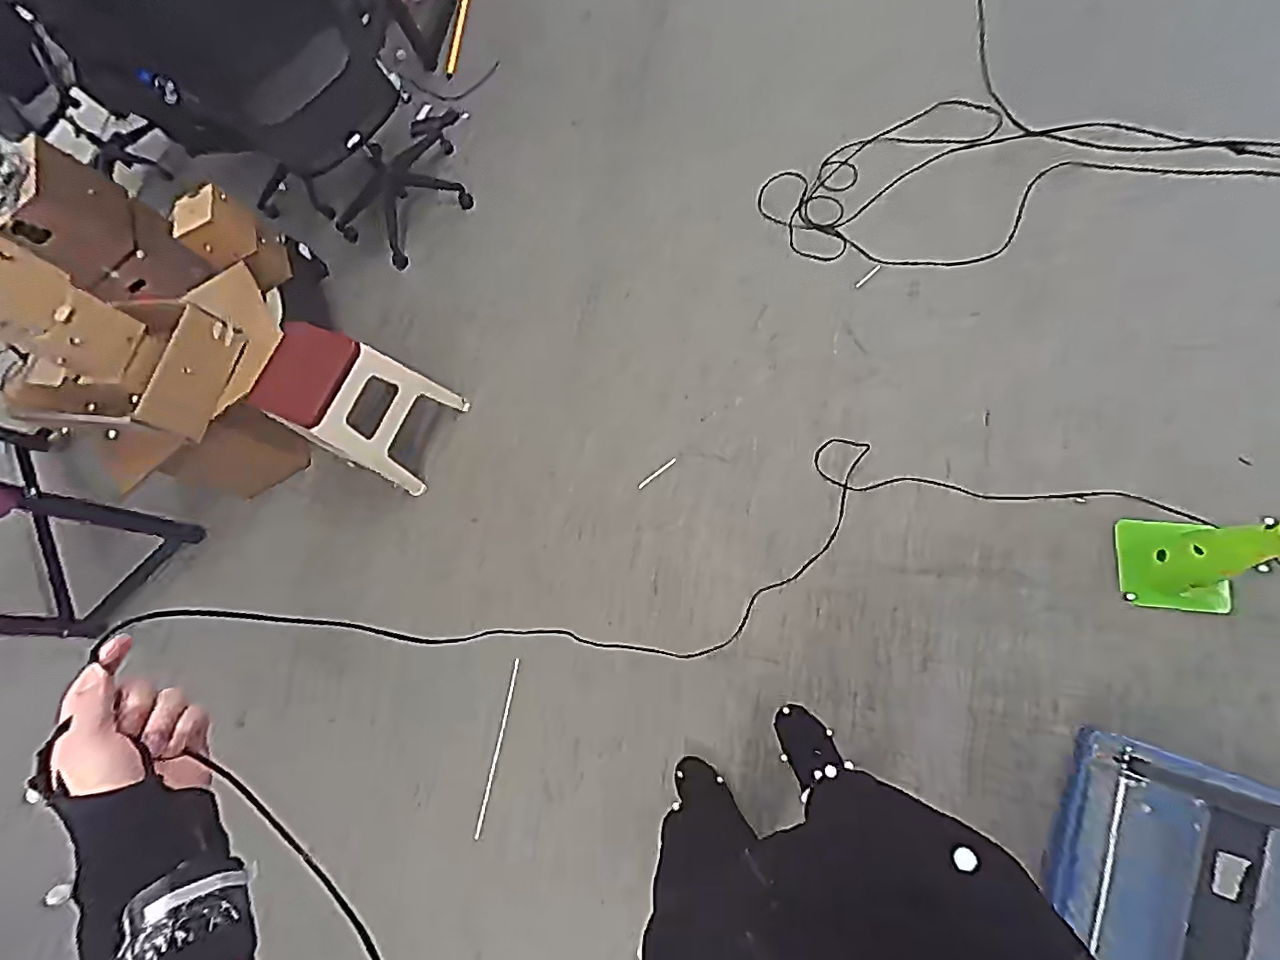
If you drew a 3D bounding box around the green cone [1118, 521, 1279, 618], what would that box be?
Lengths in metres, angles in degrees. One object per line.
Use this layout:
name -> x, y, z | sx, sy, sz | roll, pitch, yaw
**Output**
green cone -> 1.162, 0.145, 1.061 | 0.200, 0.368, 0.202 | 3, 72, 18
